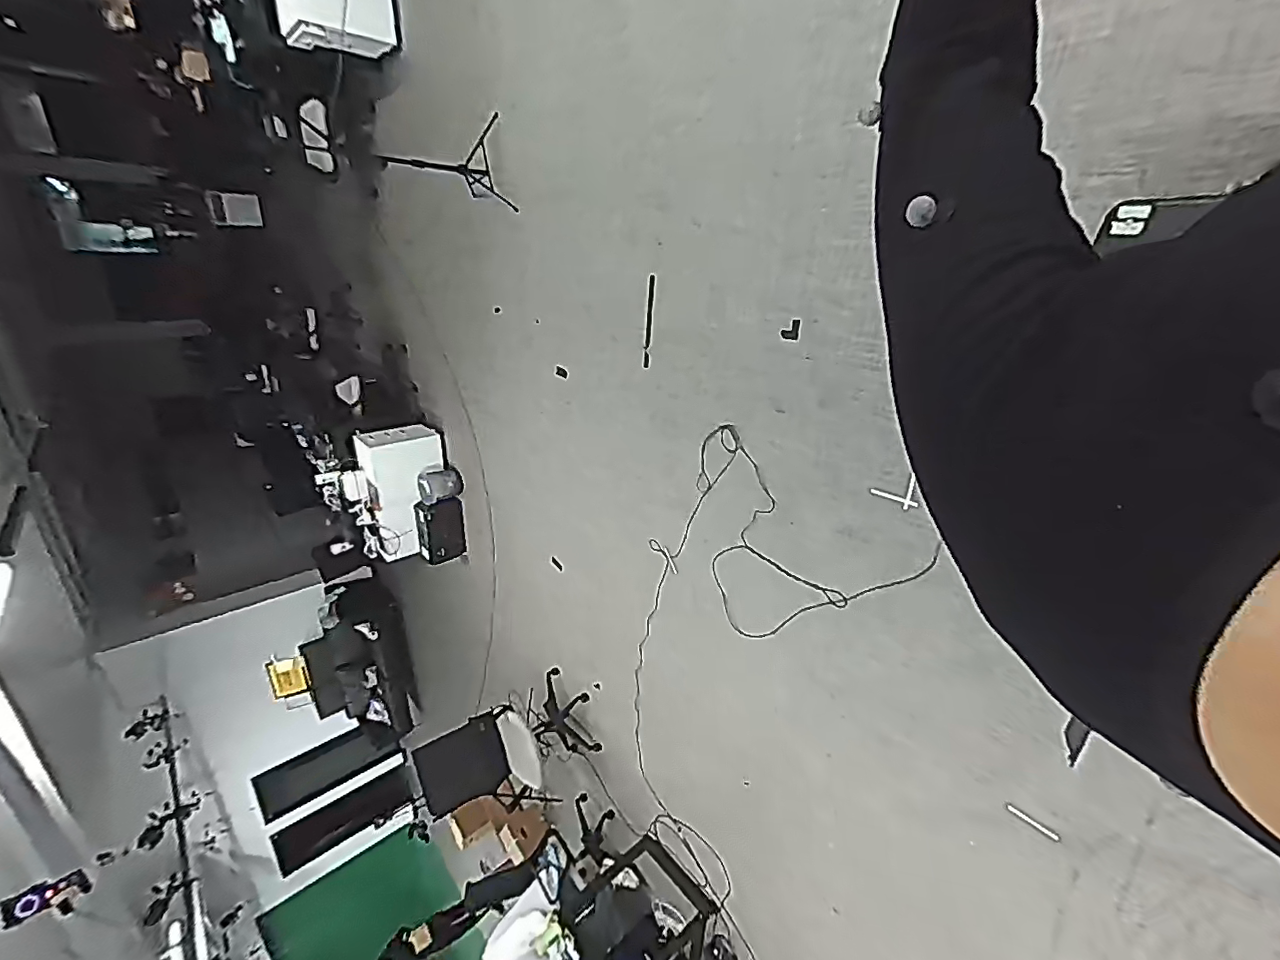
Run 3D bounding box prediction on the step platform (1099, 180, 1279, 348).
[{"bbox_3d":[1.249,-0.373,0.939,0.684,0.204,0.286,22,120,43],"label":"step platform"}]
